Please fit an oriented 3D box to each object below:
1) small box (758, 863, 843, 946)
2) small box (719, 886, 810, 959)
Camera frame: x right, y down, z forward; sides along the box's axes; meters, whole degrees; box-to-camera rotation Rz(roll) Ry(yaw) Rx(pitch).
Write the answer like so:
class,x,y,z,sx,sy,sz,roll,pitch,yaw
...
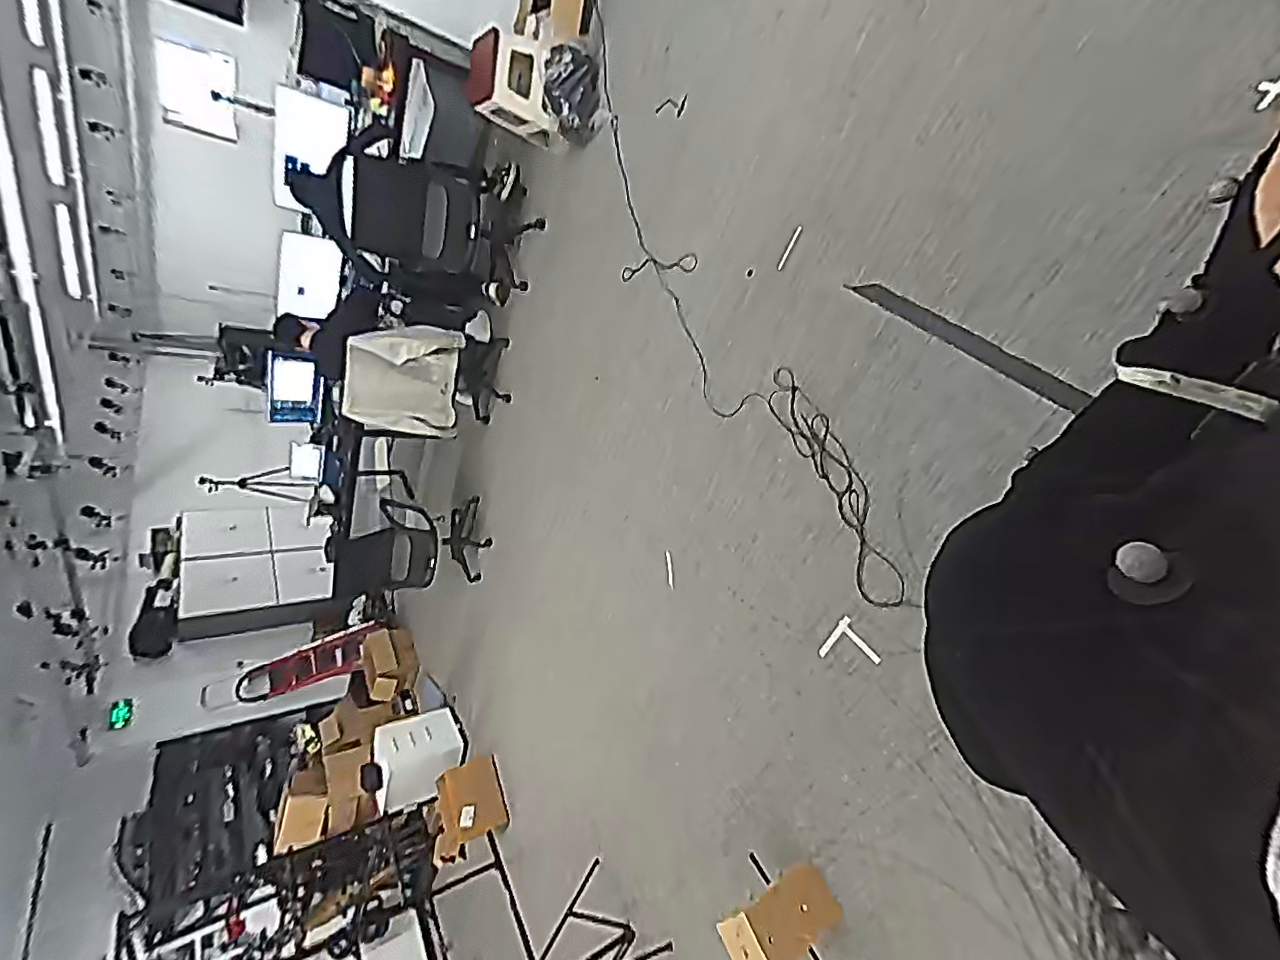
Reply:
class,x,y,z,sx,sy,sz,roll,pitch,yaw
small box,0.516,1.390,1.762,0.179,0.176,0.168,55,131,34
small box,0.386,1.403,1.662,0.179,0.176,0.168,57,132,32
